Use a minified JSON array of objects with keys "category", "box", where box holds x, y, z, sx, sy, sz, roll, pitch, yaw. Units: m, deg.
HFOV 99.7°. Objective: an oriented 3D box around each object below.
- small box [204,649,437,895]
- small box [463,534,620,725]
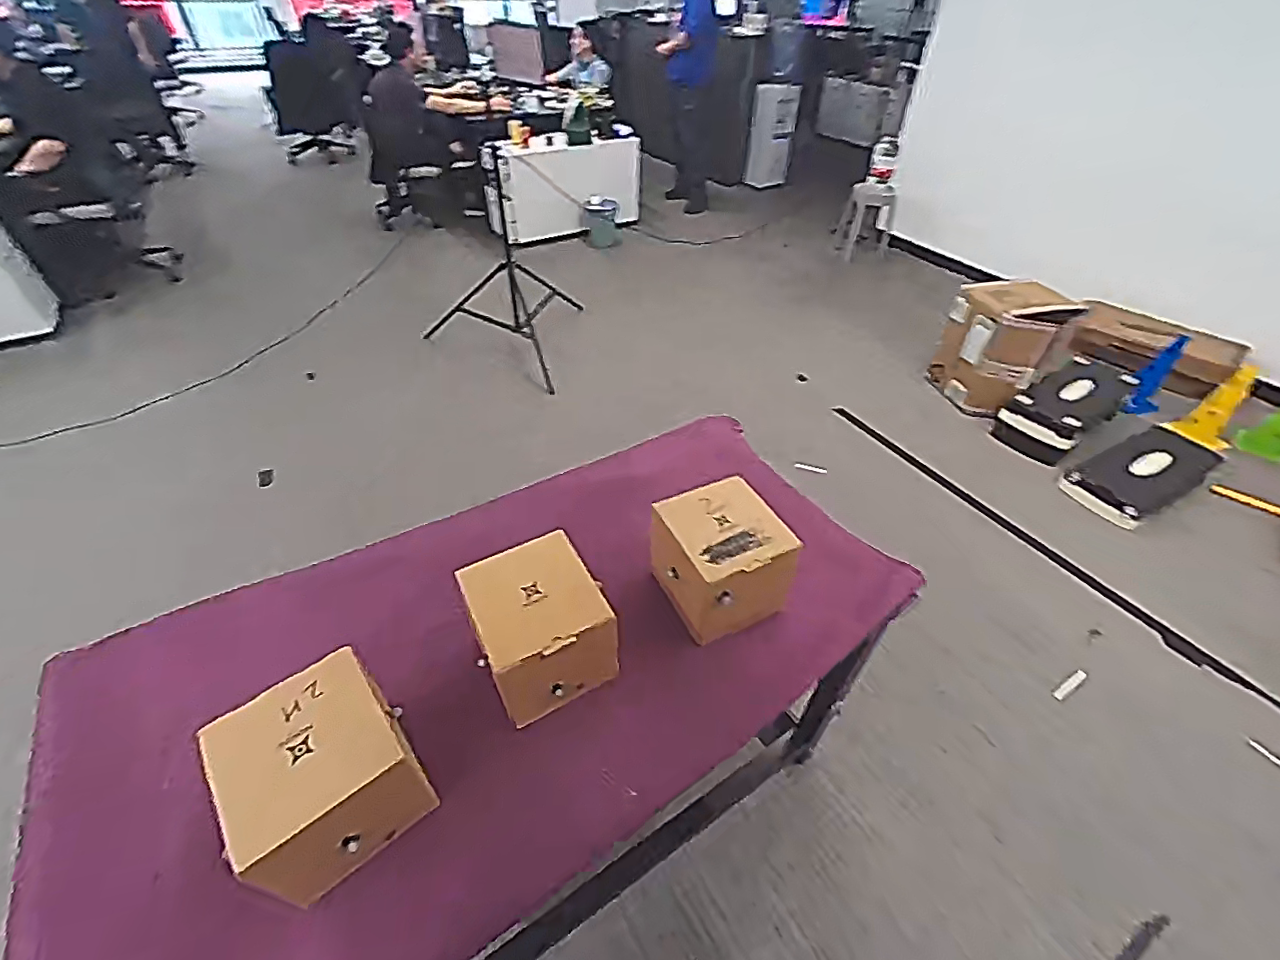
[{"category":"small box","box":[-0.365,0.346,0.640,0.168,0.176,0.179,-29,51,-29]},{"category":"small box","box":[-0.141,0.216,0.789,0.168,0.176,0.179,-21,48,-22]}]
